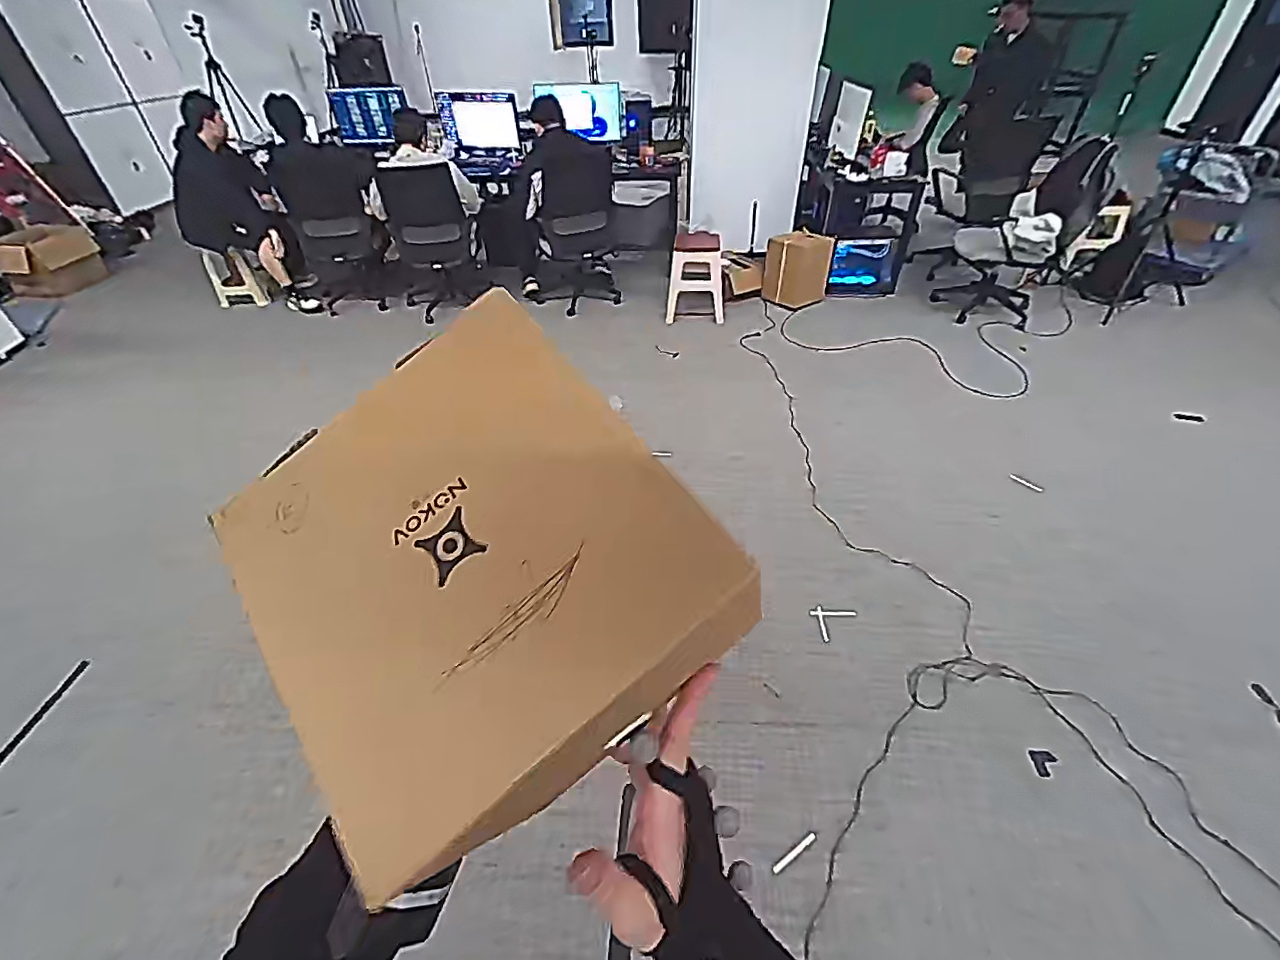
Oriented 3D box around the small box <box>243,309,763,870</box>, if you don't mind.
[{"bbox_3d":[-0.053,0.053,0.296,0.168,0.176,0.179,-43,68,-4],"label":"small box"}]
